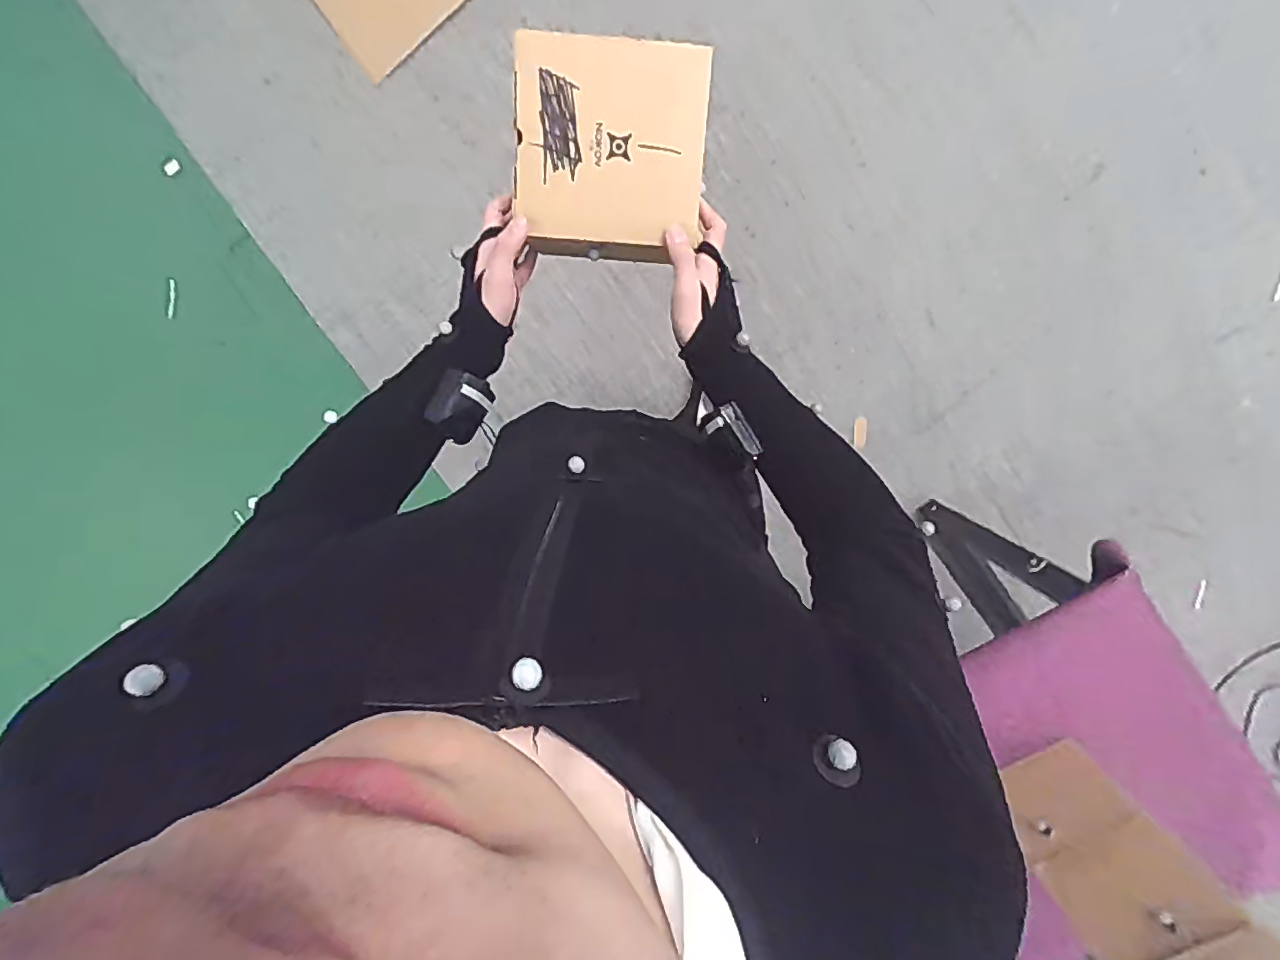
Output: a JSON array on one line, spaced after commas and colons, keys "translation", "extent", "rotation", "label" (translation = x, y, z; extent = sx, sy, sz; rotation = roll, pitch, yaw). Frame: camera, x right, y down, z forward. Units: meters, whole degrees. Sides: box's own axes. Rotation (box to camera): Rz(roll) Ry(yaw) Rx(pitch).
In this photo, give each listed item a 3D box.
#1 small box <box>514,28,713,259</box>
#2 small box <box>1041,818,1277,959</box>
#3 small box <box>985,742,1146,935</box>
[{"translation": [-0.027, -0.332, 0.570], "extent": [0.179, 0.176, 0.168], "rotation": [3, 107, -2], "label": "small box"}, {"translation": [0.677, 0.598, 0.709], "extent": [0.179, 0.176, 0.168], "rotation": [-35, 96, 11], "label": "small box"}, {"translation": [0.695, 0.567, 0.866], "extent": [0.179, 0.176, 0.168], "rotation": [-34, 97, 12], "label": "small box"}]
